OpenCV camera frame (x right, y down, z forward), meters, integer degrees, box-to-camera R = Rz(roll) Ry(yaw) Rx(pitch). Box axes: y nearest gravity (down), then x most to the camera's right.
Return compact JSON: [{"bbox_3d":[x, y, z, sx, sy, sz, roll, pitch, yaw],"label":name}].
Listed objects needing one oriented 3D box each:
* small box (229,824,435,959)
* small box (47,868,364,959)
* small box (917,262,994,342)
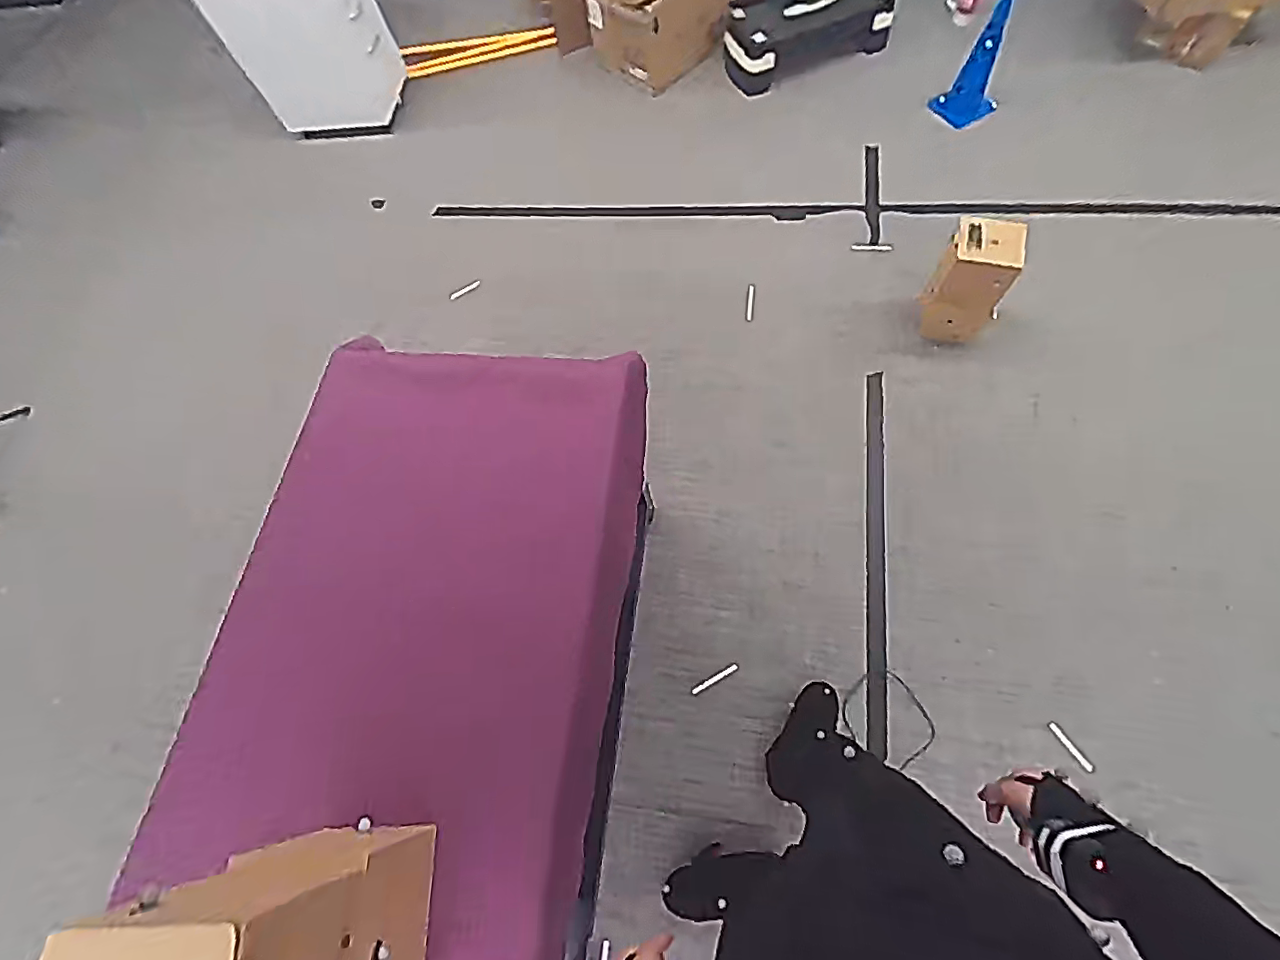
[{"bbox_3d":[-0.361,0.525,0.636,0.168,0.176,0.179,-5,66,5],"label":"small box"},{"bbox_3d":[-0.386,0.469,0.483,0.179,0.176,0.168,-6,67,4],"label":"small box"},{"bbox_3d":[1.004,-0.565,1.727,0.168,0.176,0.179,9,68,10],"label":"small box"}]
